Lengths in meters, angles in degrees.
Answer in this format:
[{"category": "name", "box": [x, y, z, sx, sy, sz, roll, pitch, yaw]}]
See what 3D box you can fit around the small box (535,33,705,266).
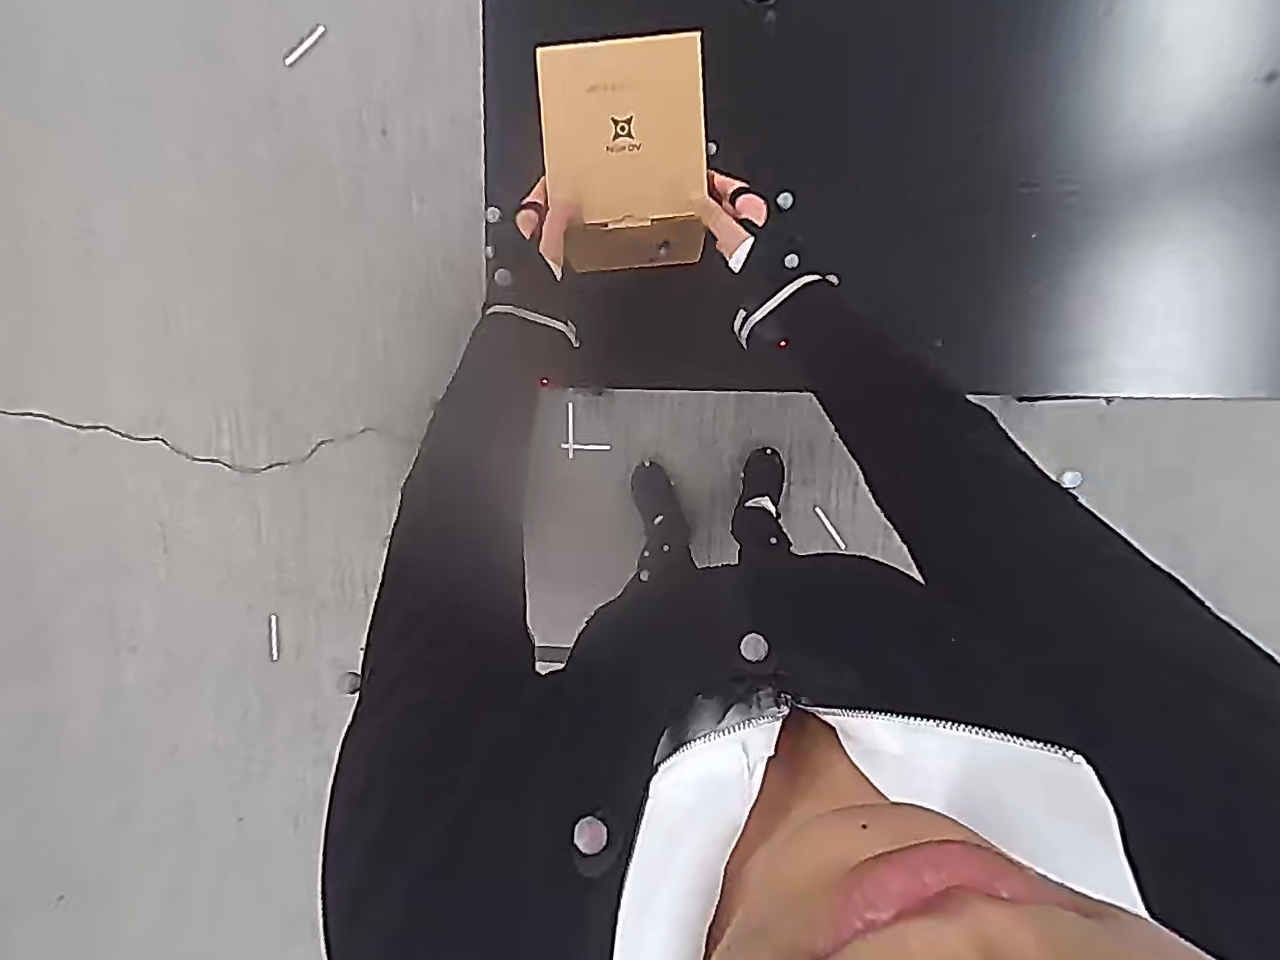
[{"category": "small box", "box": [-0.016, -0.357, 0.623, 0.168, 0.176, 0.179, -4, 95, 2]}]
